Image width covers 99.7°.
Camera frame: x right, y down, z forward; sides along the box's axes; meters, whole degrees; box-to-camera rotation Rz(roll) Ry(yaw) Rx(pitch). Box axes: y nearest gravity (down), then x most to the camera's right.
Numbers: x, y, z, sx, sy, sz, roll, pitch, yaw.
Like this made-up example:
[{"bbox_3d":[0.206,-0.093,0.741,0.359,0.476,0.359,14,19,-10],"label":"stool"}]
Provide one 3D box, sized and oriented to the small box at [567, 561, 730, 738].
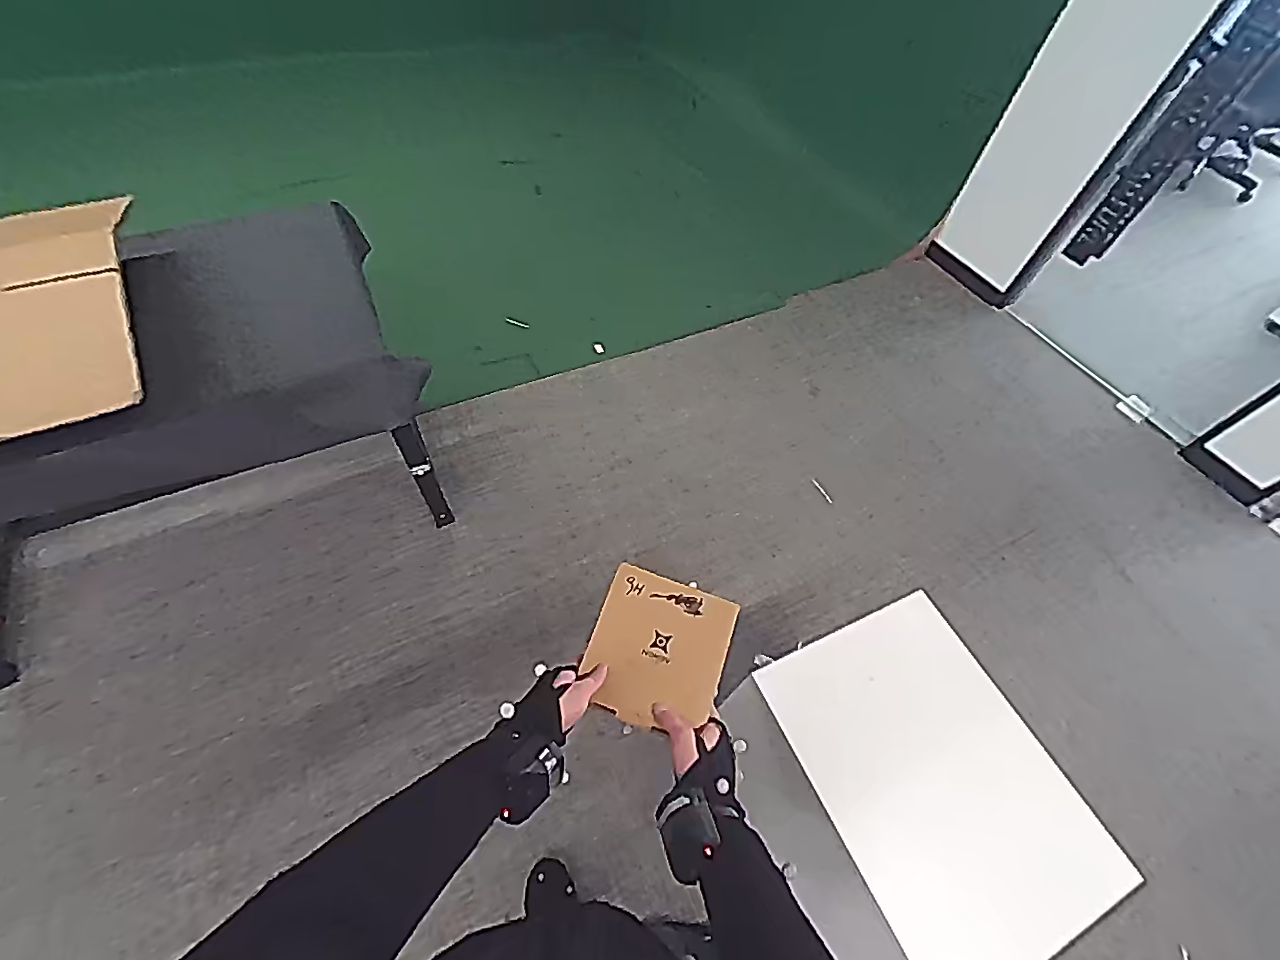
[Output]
[{"bbox_3d":[0.011,0.238,0.745,0.168,0.176,0.179,17,65,4],"label":"small box"}]
